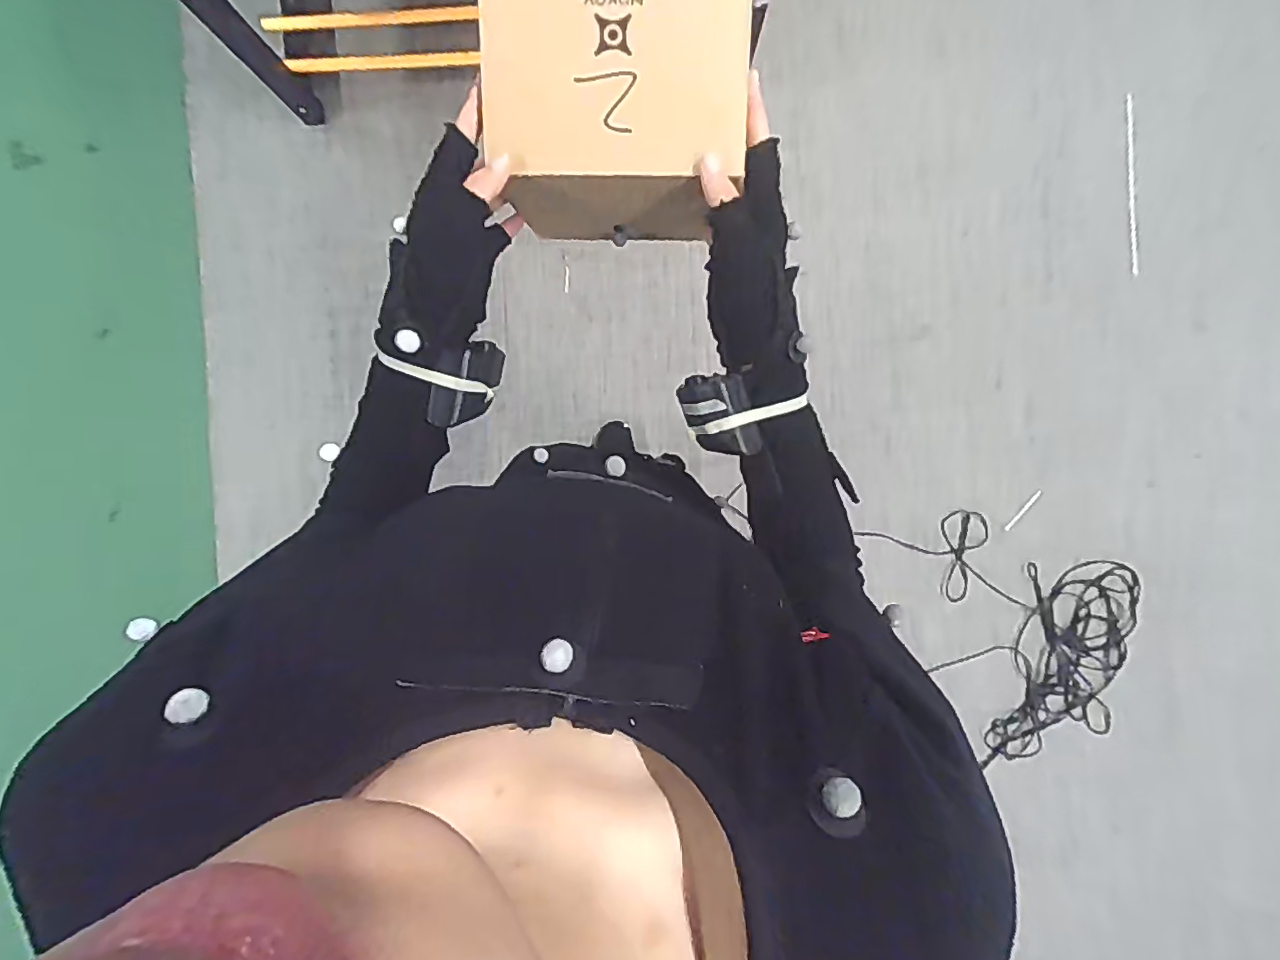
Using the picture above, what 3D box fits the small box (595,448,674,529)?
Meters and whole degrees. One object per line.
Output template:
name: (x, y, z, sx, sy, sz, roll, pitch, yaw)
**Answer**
small box: (-0.022, 0.020, 1.434, 0.168, 0.176, 0.179, 14, 90, -8)
